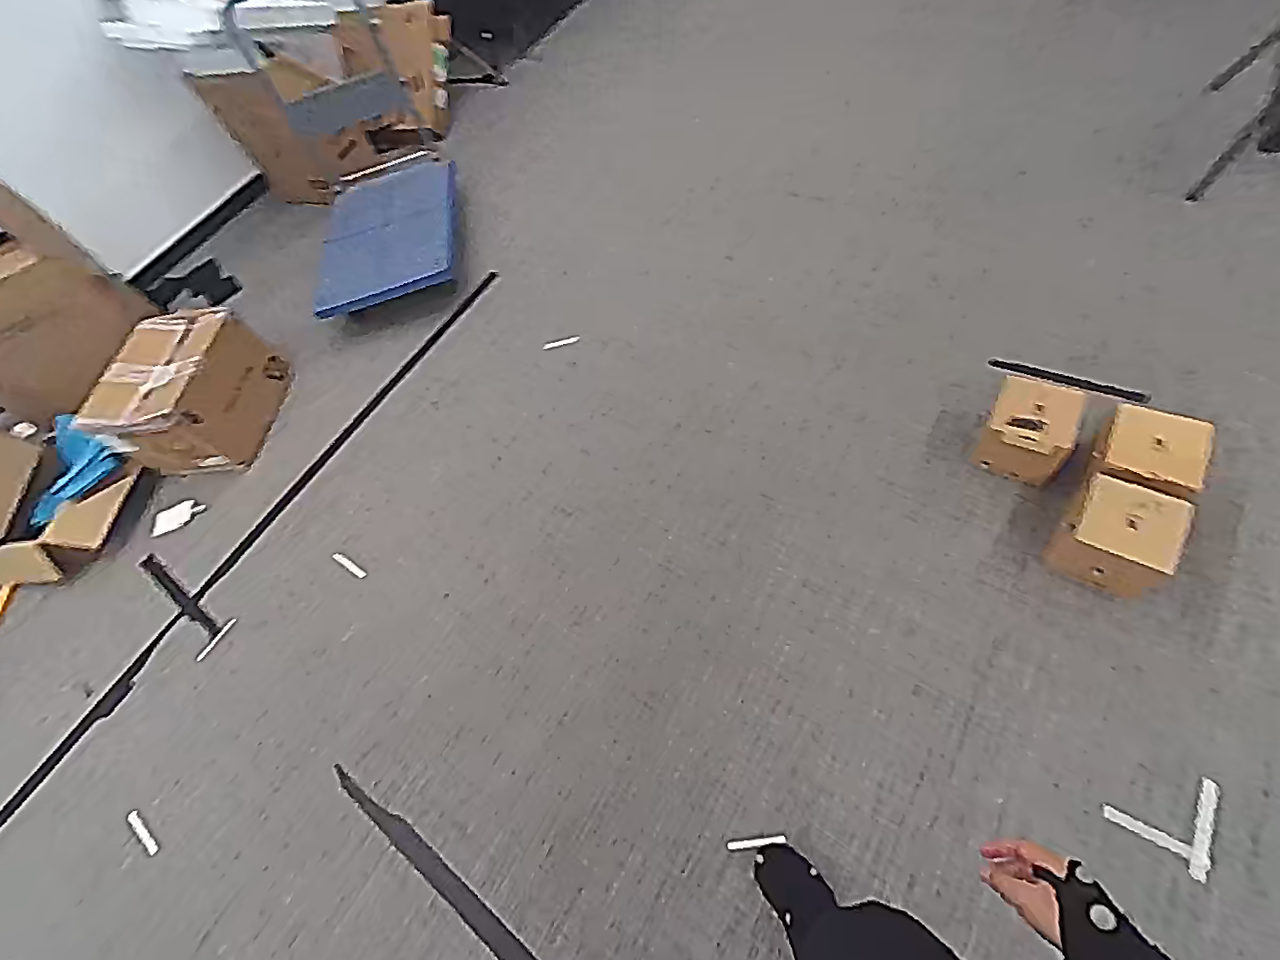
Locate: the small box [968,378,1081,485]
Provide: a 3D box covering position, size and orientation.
[{"bbox_3d":[0.933,-0.115,1.328,0.168,0.176,0.179,23,68,25],"label":"small box"}]
